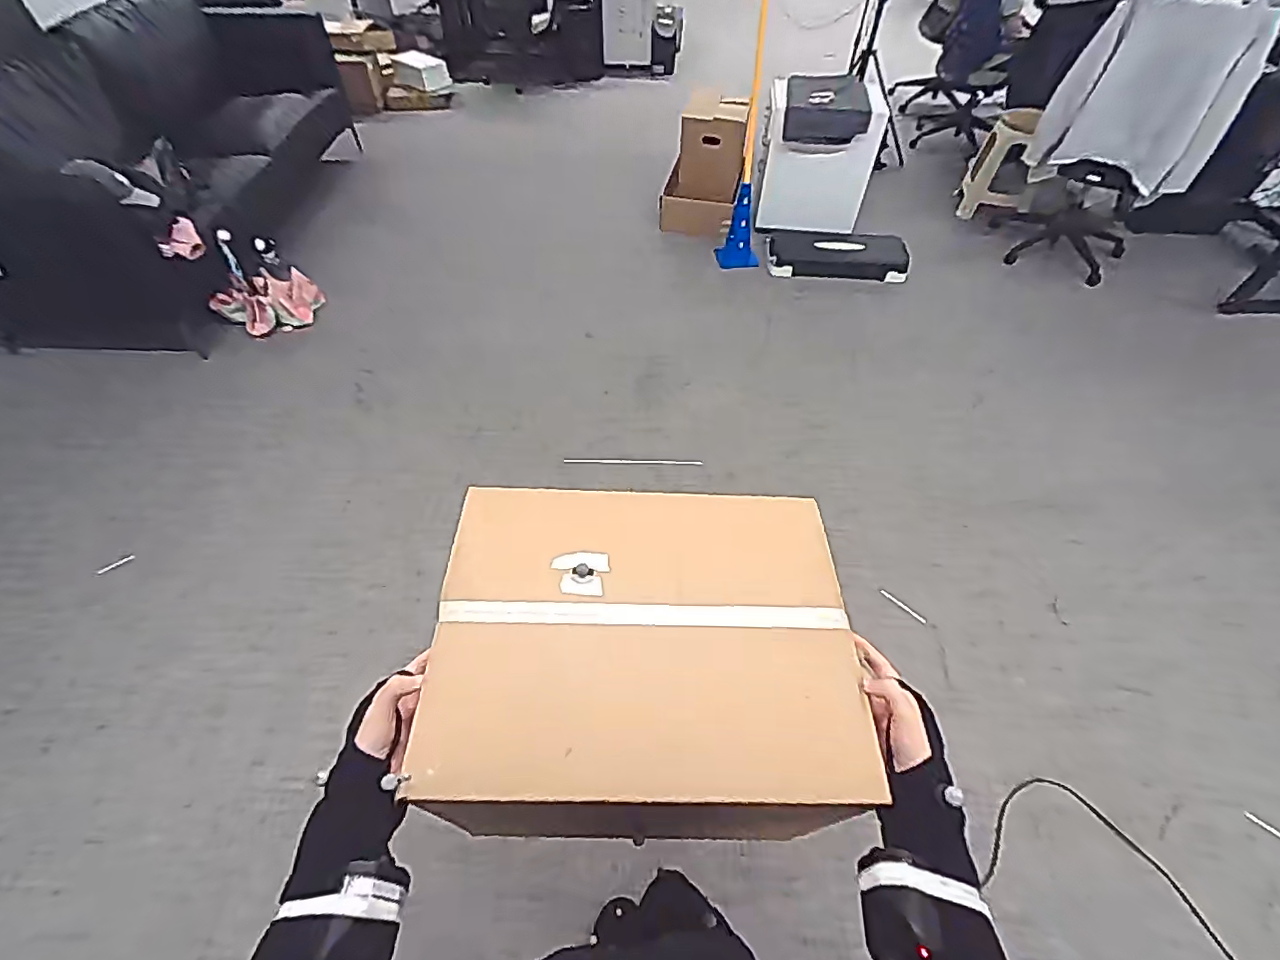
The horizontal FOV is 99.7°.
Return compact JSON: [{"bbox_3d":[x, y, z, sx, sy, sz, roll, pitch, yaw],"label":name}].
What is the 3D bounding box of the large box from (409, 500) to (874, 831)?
[{"bbox_3d":[0.000,0.237,0.663,0.408,0.320,0.320,2,51,-2],"label":"large box"}]
